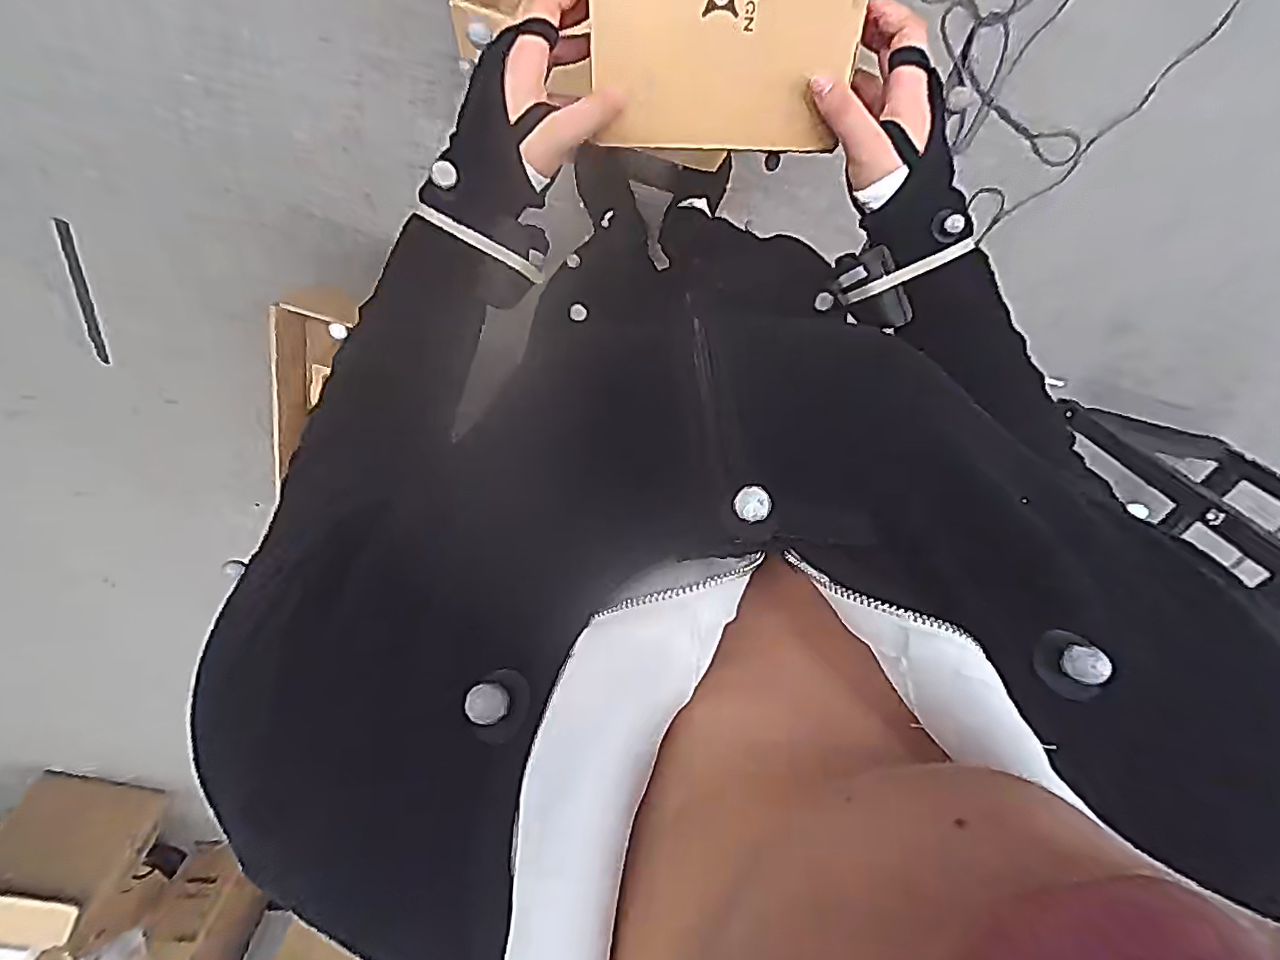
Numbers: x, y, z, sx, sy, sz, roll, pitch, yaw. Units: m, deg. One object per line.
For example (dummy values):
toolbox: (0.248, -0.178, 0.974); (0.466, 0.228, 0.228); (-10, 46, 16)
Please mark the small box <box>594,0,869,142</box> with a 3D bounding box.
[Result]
small box: (0.057, -0.356, 0.402); (0.179, 0.176, 0.168); (0, 126, -2)
